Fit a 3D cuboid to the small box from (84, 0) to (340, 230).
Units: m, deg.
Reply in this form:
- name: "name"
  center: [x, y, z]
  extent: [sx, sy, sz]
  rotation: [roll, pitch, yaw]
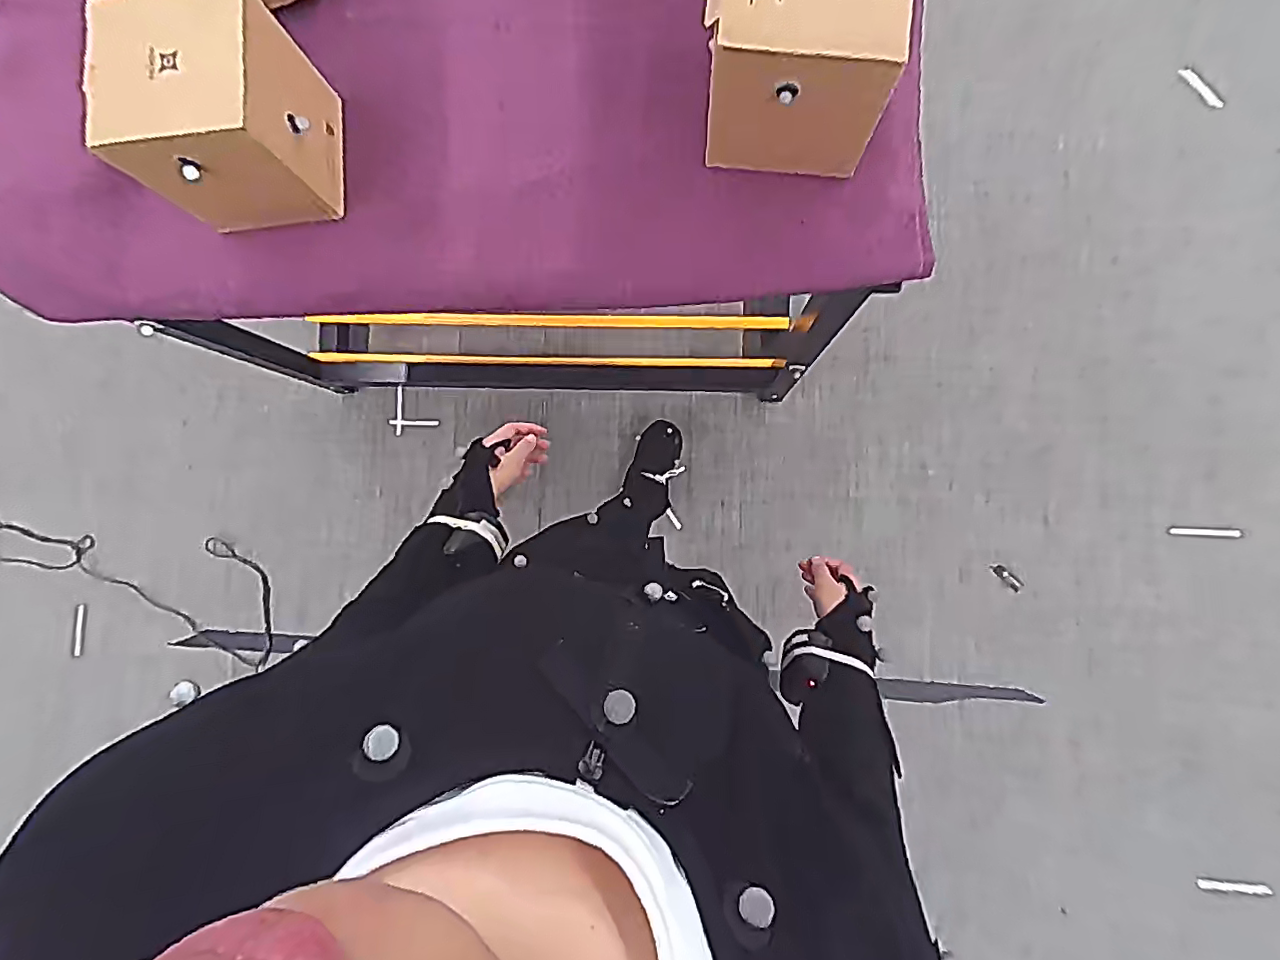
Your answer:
- name: "small box"
  center: [-0.473, -0.414, 0.625]
  extent: [0.179, 0.176, 0.168]
  rotation: [-4, 86, 4]

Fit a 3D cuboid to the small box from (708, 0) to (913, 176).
- name: "small box"
  center: [0.170, -0.455, 0.576]
  extent: [0.179, 0.176, 0.168]
  rotation: [7, 86, 4]
